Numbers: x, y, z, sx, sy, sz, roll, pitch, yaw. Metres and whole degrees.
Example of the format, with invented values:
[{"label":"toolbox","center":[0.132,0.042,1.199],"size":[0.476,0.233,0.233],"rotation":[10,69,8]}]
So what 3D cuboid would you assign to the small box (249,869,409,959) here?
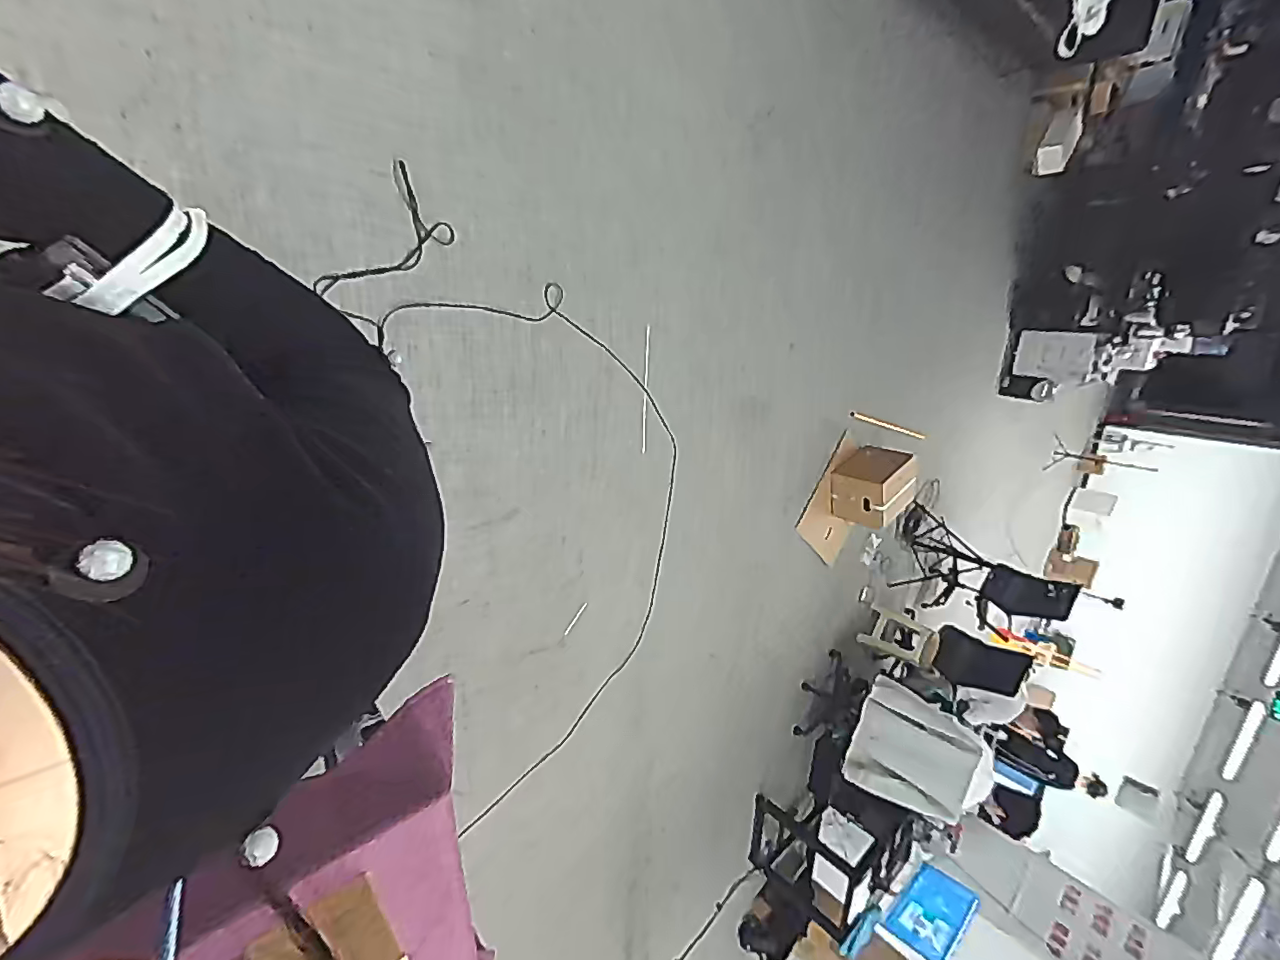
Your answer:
[{"label":"small box","center":[-0.466,0.757,0.825],"size":[0.179,0.176,0.168],"rotation":[-16,115,-39]}]
